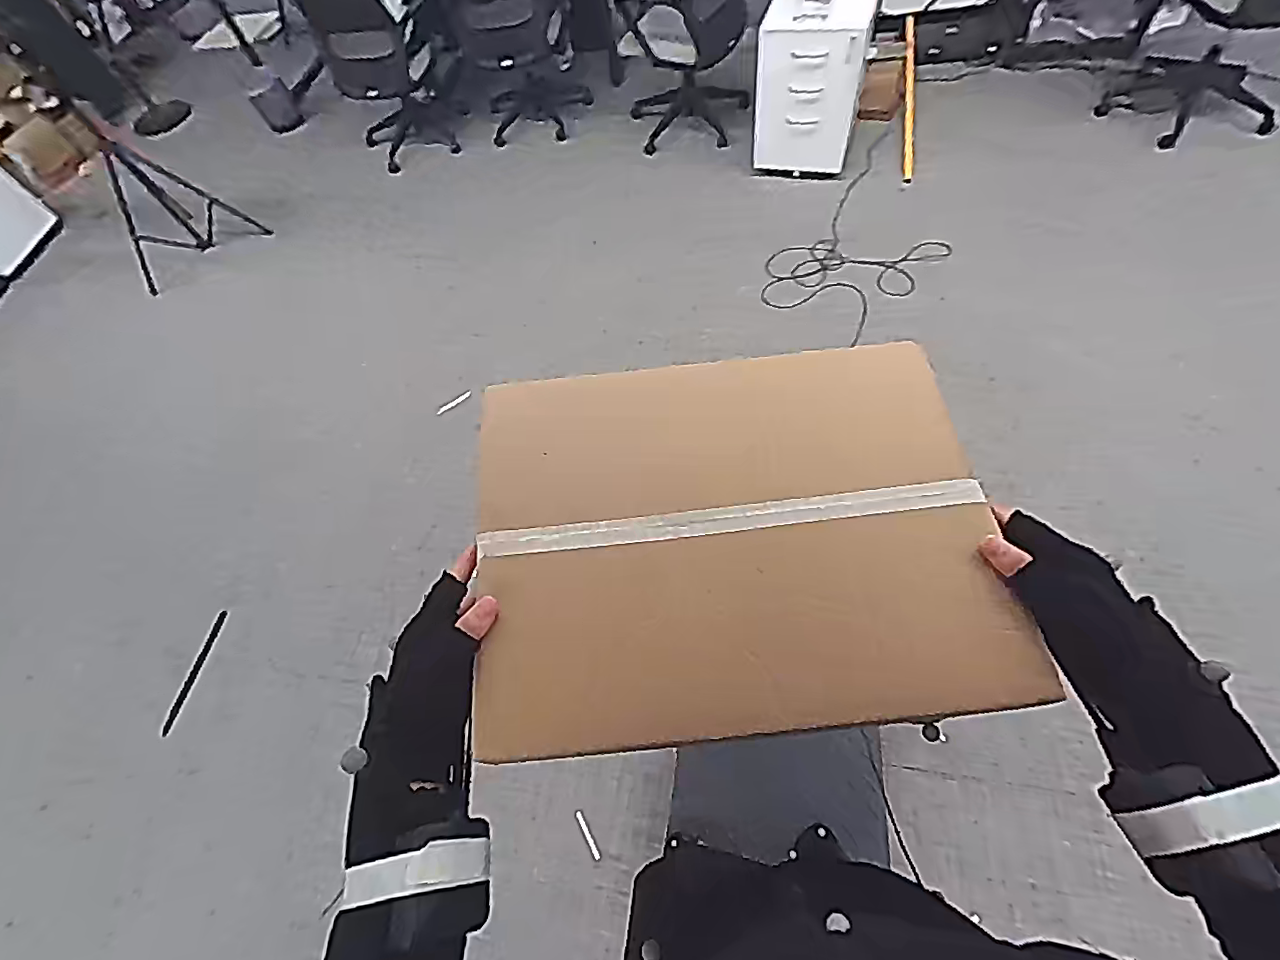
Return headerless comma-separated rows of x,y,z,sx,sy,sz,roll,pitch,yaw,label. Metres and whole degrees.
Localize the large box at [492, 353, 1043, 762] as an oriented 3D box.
0.086,0.102,0.580,0.408,0.320,0.320,-6,64,1,large box
